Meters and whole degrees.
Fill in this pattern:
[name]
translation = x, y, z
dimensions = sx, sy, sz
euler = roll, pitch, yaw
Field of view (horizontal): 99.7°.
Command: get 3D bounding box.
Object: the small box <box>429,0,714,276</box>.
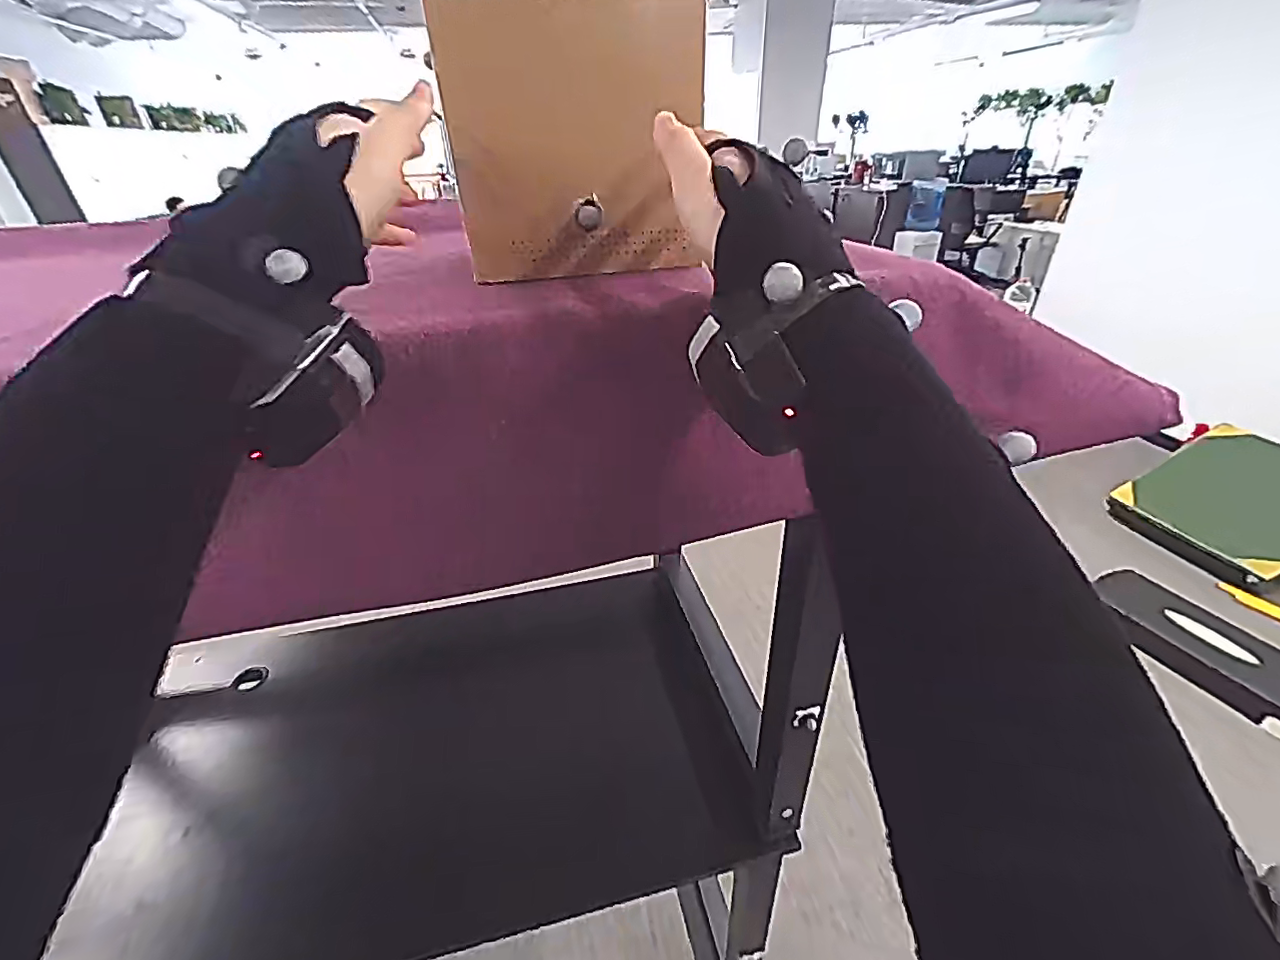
[small box]
translation = -0.051, -0.268, 0.431
dimensions = 0.179, 0.176, 0.168
euler = -7, 31, -9
